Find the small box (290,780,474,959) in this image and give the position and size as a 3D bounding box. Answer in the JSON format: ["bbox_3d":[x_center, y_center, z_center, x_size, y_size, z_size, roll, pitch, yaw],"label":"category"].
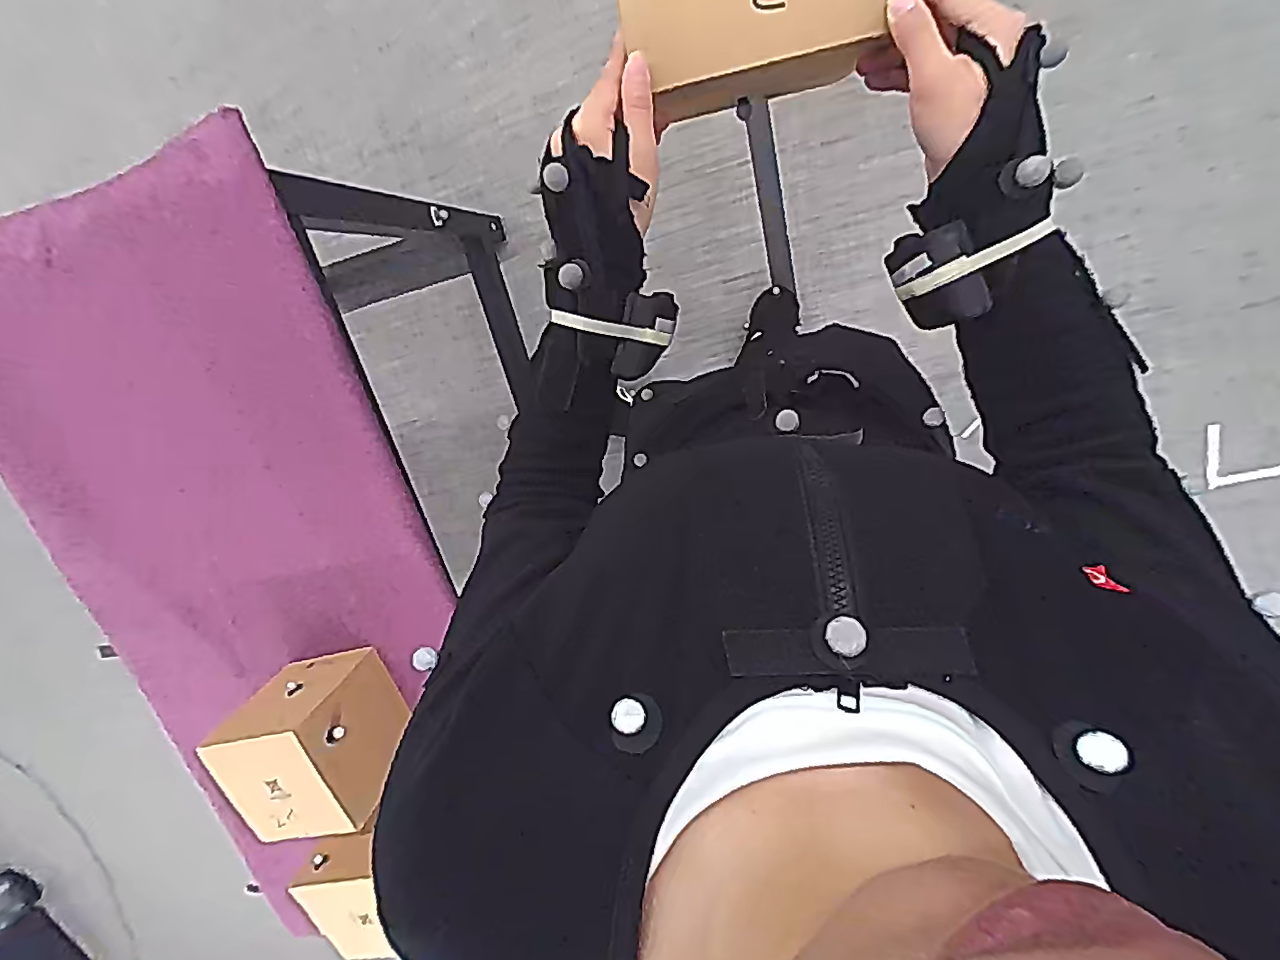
[{"bbox_3d":[-0.387,0.605,0.854,0.179,0.176,0.168,-18,107,15],"label":"small box"}]

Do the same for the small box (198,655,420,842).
[{"bbox_3d":[-0.456,0.372,0.774,0.168,0.176,0.179,-15,107,15],"label":"small box"}]
